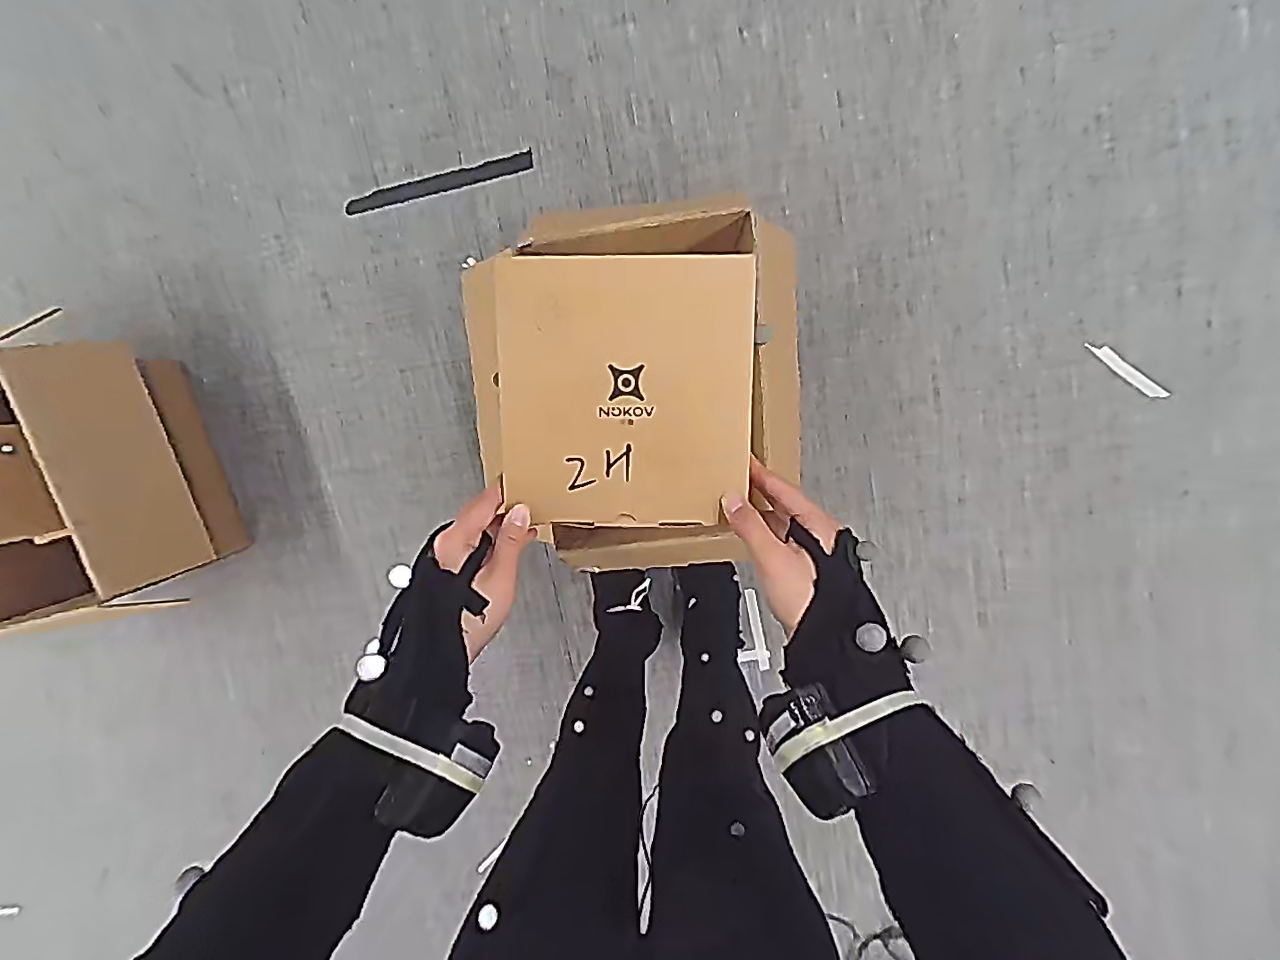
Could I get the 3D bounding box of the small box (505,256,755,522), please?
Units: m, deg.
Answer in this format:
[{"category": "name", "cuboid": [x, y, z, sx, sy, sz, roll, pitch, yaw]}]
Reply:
[{"category": "small box", "cuboid": [-0.006, -0.070, 0.439, 0.168, 0.176, 0.179, 0, 99, 2]}]
